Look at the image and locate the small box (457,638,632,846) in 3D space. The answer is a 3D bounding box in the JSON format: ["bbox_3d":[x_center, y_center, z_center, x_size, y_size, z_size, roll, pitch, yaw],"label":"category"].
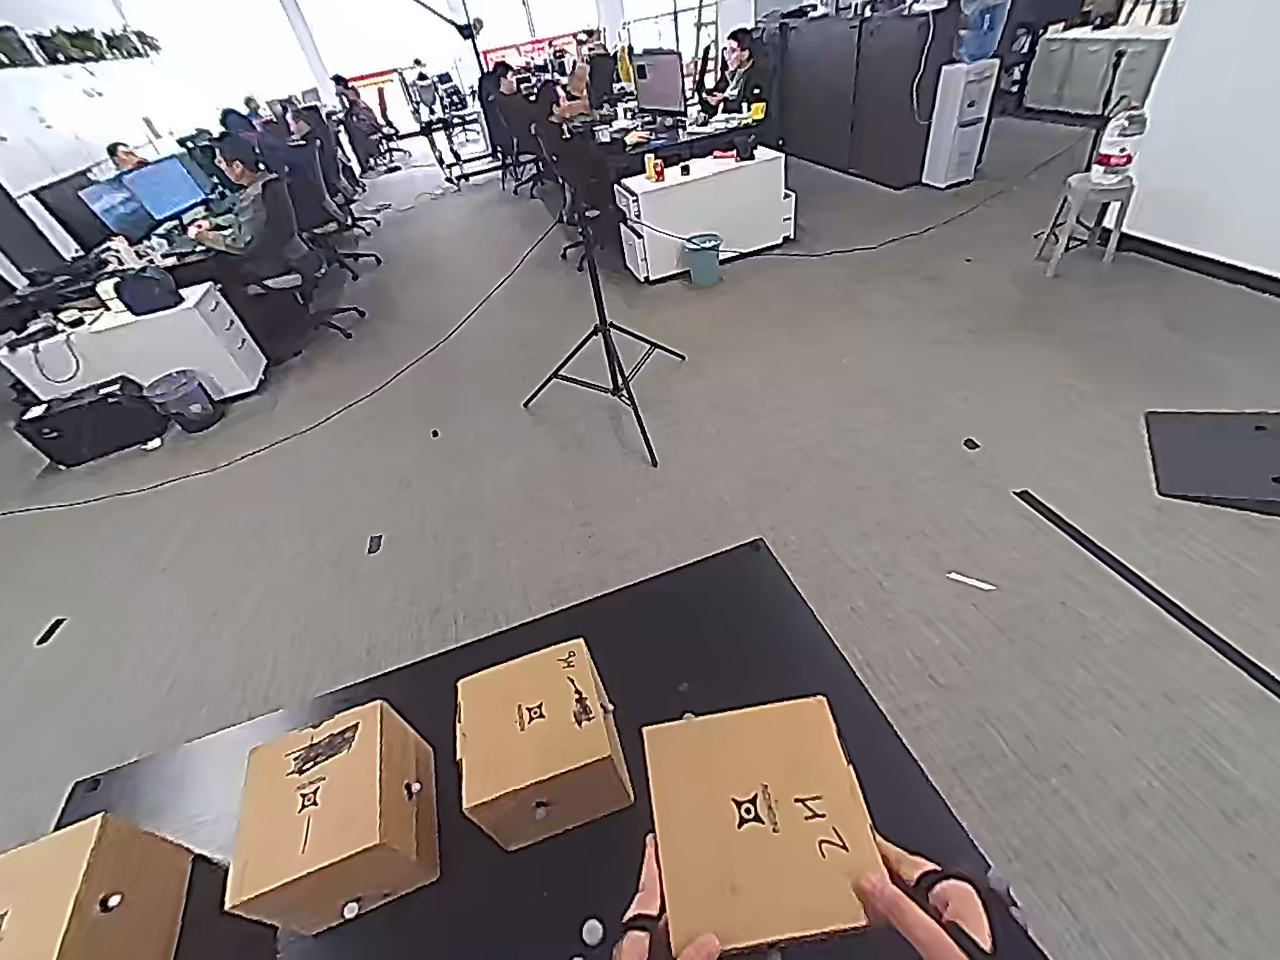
[{"bbox_3d":[-0.124,0.346,0.712,0.179,0.176,0.168,-18,42,-6],"label":"small box"}]

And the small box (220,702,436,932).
[{"bbox_3d":[-0.371,0.422,0.681,0.168,0.176,0.179,-19,43,-9],"label":"small box"}]

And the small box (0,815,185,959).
[{"bbox_3d":[-0.678,0.535,0.623,0.168,0.176,0.179,-20,42,-12],"label":"small box"}]

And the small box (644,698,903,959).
[{"bbox_3d":[0.107,0.326,0.501,0.179,0.176,0.168,-9,48,0],"label":"small box"}]
